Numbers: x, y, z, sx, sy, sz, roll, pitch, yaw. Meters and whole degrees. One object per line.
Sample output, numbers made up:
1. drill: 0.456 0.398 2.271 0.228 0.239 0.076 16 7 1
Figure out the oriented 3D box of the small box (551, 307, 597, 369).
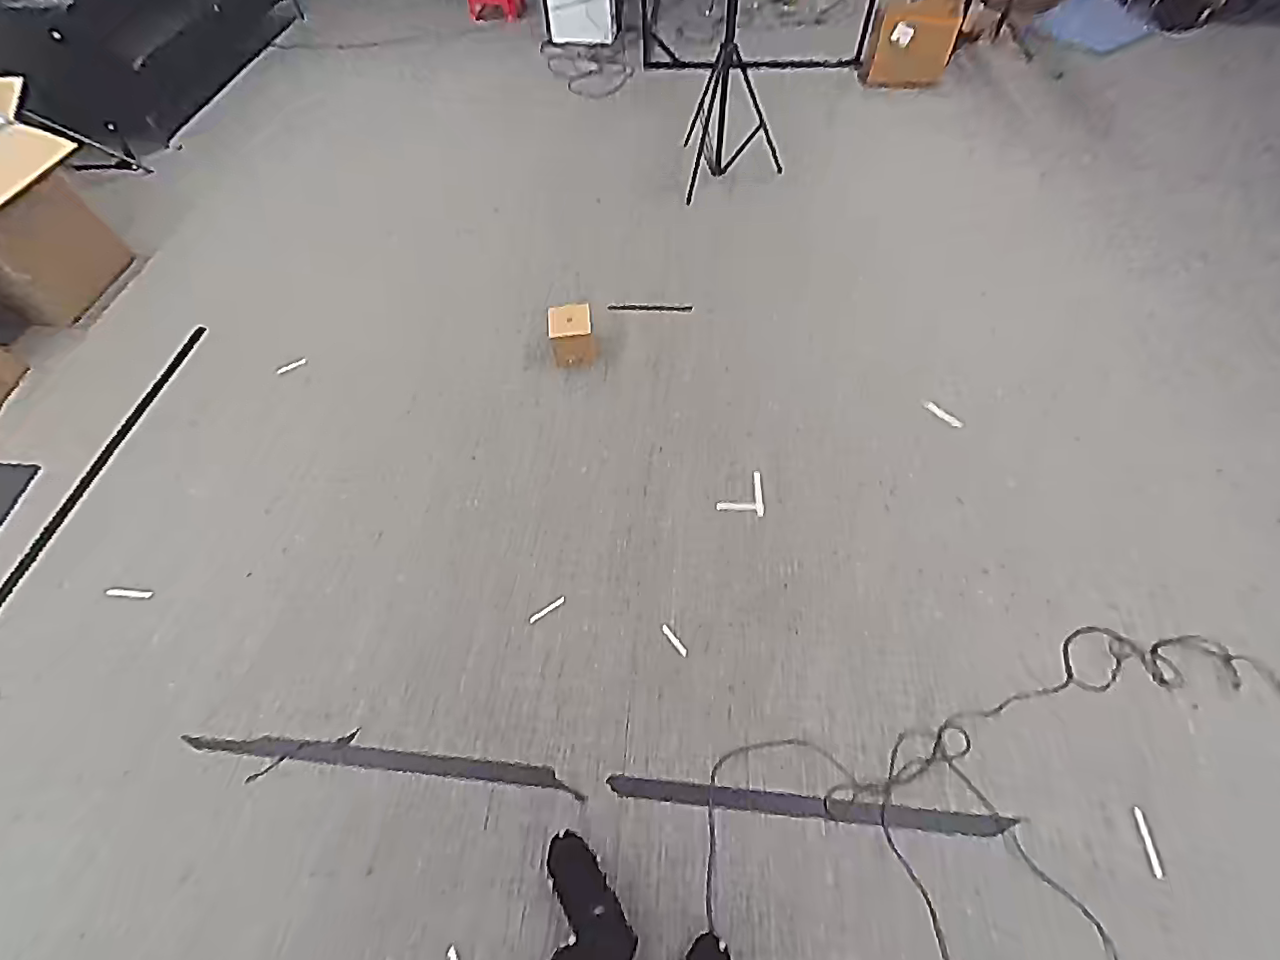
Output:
1. small box: -0.266 -0.573 2.185 0.168 0.176 0.179 -7 57 -1
